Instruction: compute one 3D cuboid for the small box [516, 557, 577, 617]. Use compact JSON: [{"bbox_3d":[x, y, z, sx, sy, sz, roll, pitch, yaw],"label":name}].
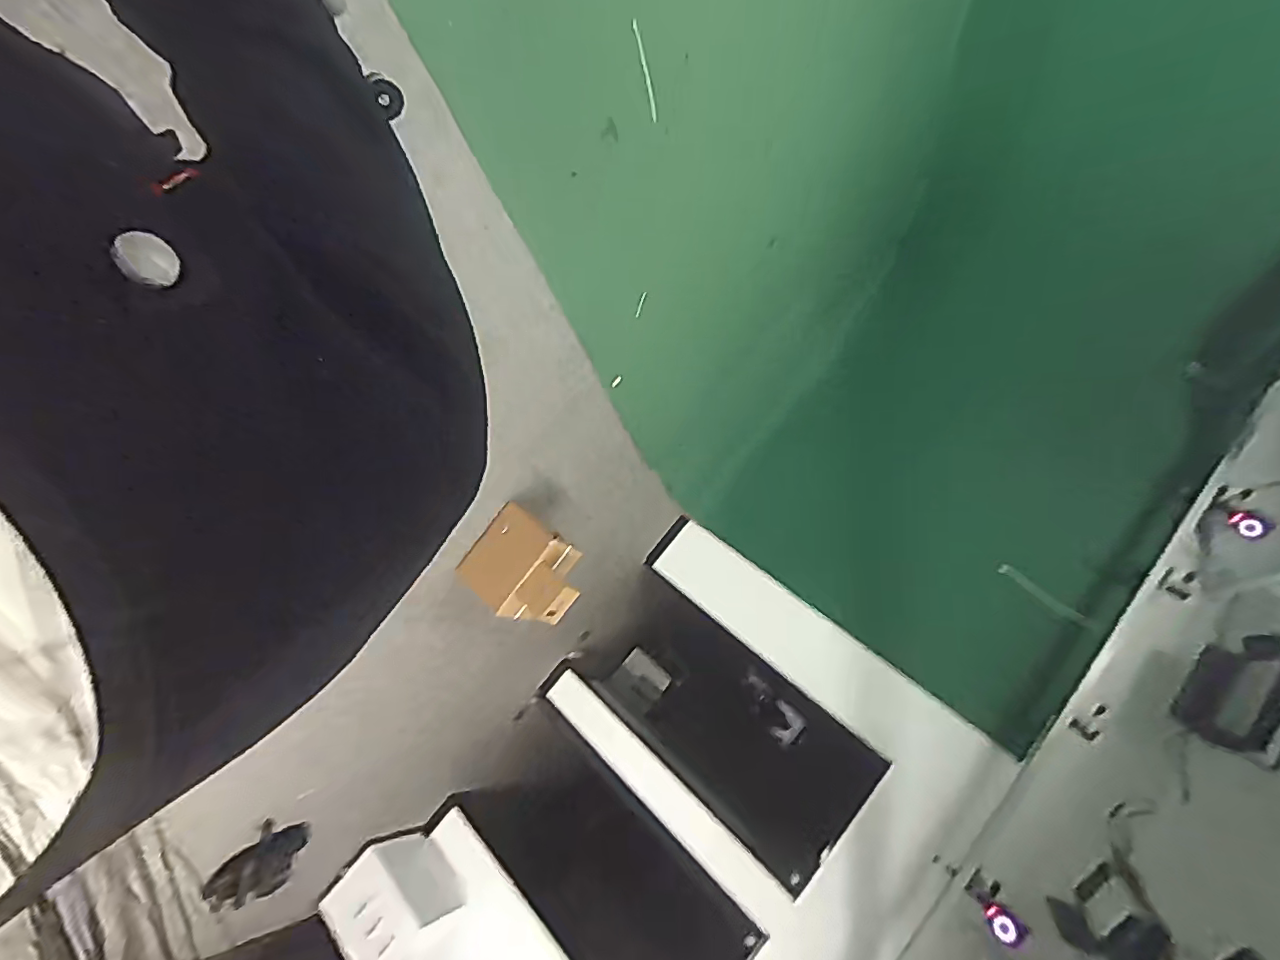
[{"bbox_3d":[-0.412,0.464,2.341,0.179,0.176,0.168,-51,154,-8],"label":"small box"}]
